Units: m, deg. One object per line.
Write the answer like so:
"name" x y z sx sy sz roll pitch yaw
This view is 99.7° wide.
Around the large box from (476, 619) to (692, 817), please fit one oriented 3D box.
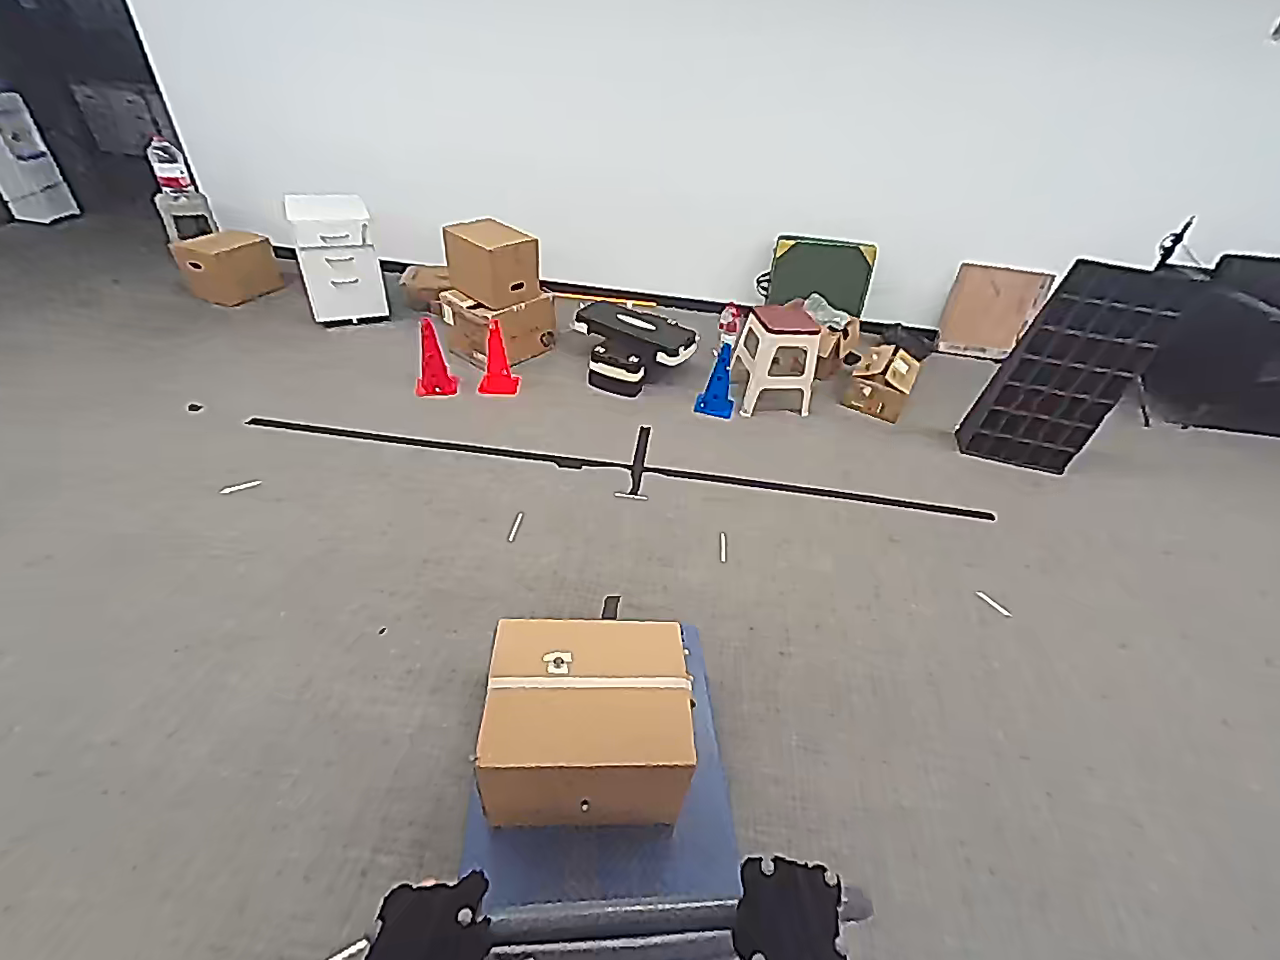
"large box" -0.117 0.528 1.202 0.408 0.320 0.320 2 40 -5
